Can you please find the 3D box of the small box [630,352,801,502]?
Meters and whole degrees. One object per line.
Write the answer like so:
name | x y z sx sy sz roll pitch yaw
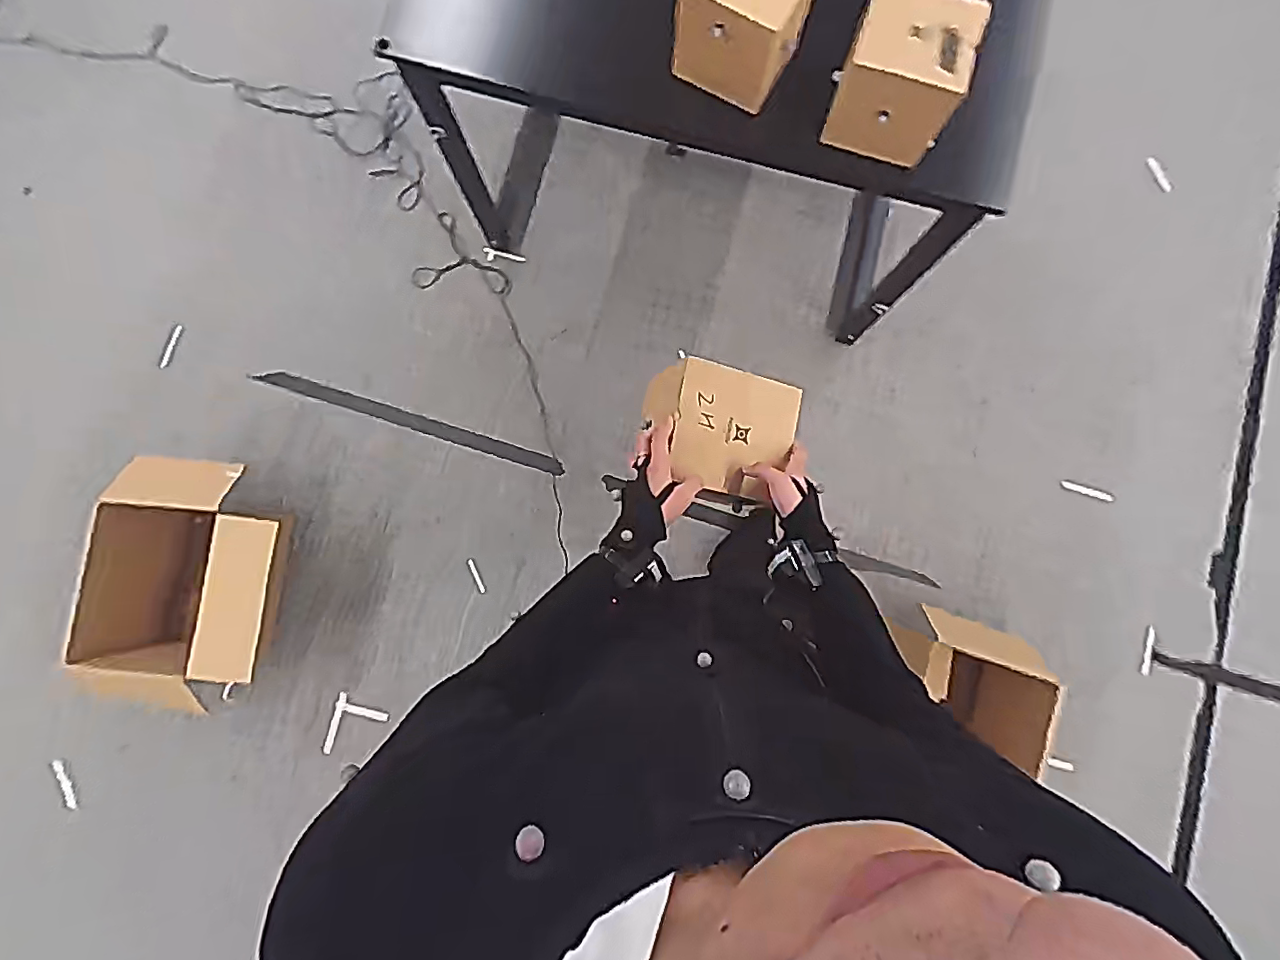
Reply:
small box | 0.101 -0.065 0.779 0.179 0.176 0.168 12 84 -15

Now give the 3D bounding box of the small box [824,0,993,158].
small box | 0.435 -0.678 0.901 0.179 0.176 0.168 18 84 4

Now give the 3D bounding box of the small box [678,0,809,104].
small box | 0.179 -0.792 0.918 0.179 0.176 0.168 29 84 4
